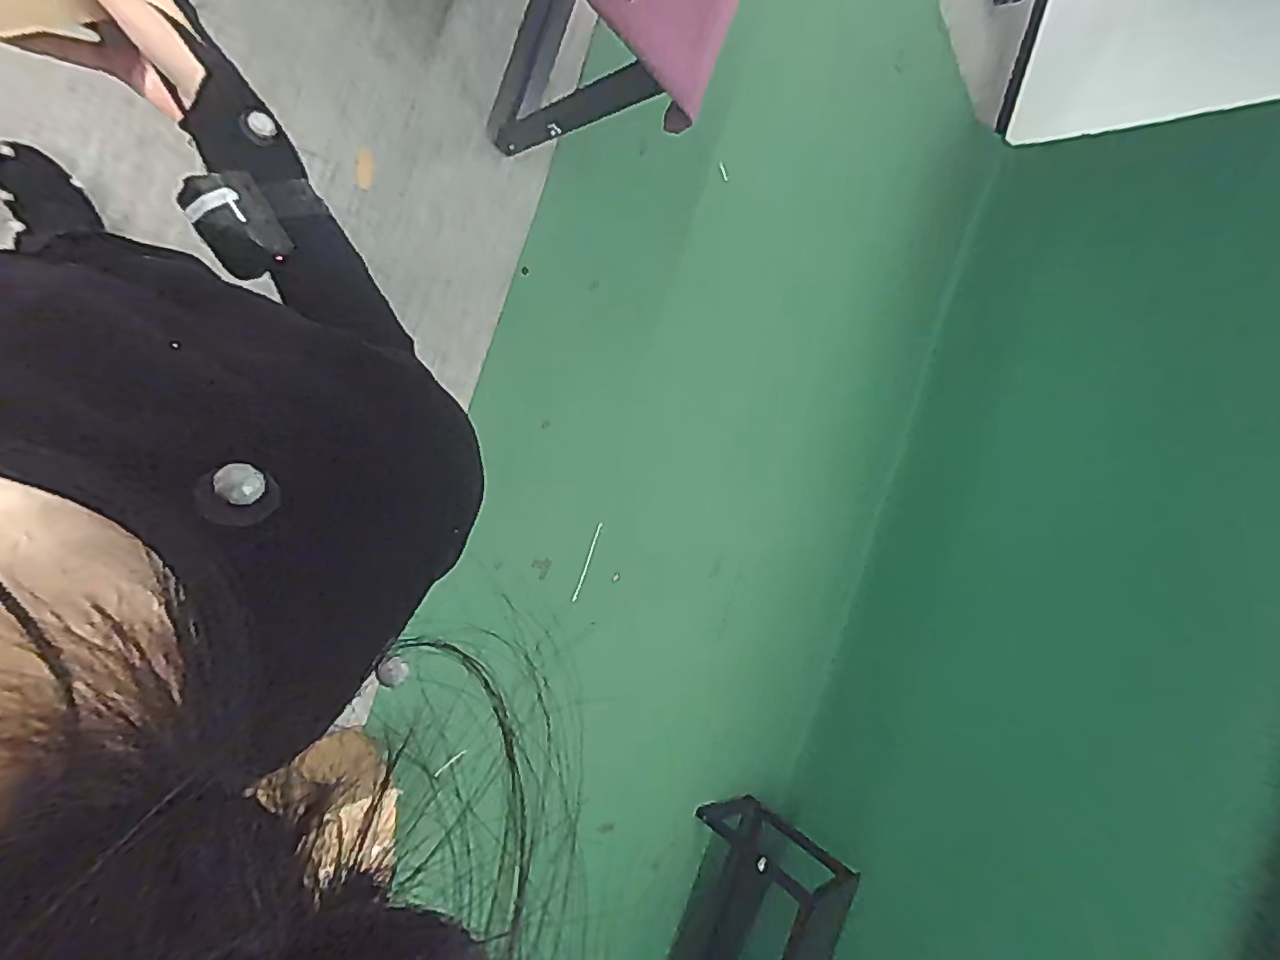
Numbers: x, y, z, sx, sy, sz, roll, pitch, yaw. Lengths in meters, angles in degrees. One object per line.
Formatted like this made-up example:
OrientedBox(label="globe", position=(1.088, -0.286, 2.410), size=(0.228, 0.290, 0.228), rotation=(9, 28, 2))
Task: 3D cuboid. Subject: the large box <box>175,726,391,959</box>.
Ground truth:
OrientedBox(label="large box", position=(-0.903, 0.899, 1.371), size=(0.408, 0.320, 0.320), rotation=(0, 103, -45))
